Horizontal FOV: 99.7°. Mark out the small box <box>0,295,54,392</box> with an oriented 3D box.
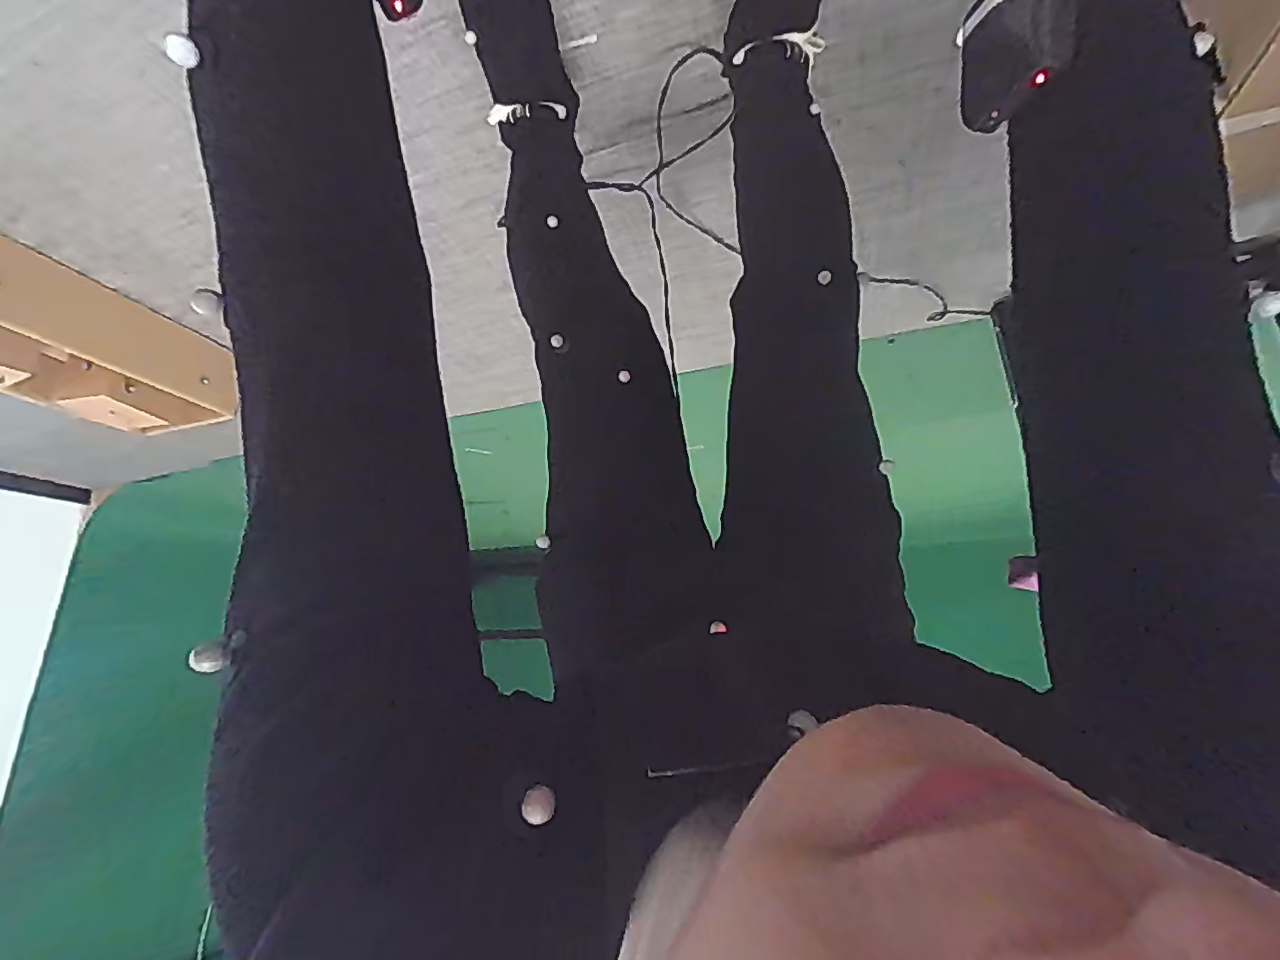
[{"bbox_3d":[-1.479,-0.320,1.200,0.168,0.176,0.179,-9,161,22],"label":"small box"}]
